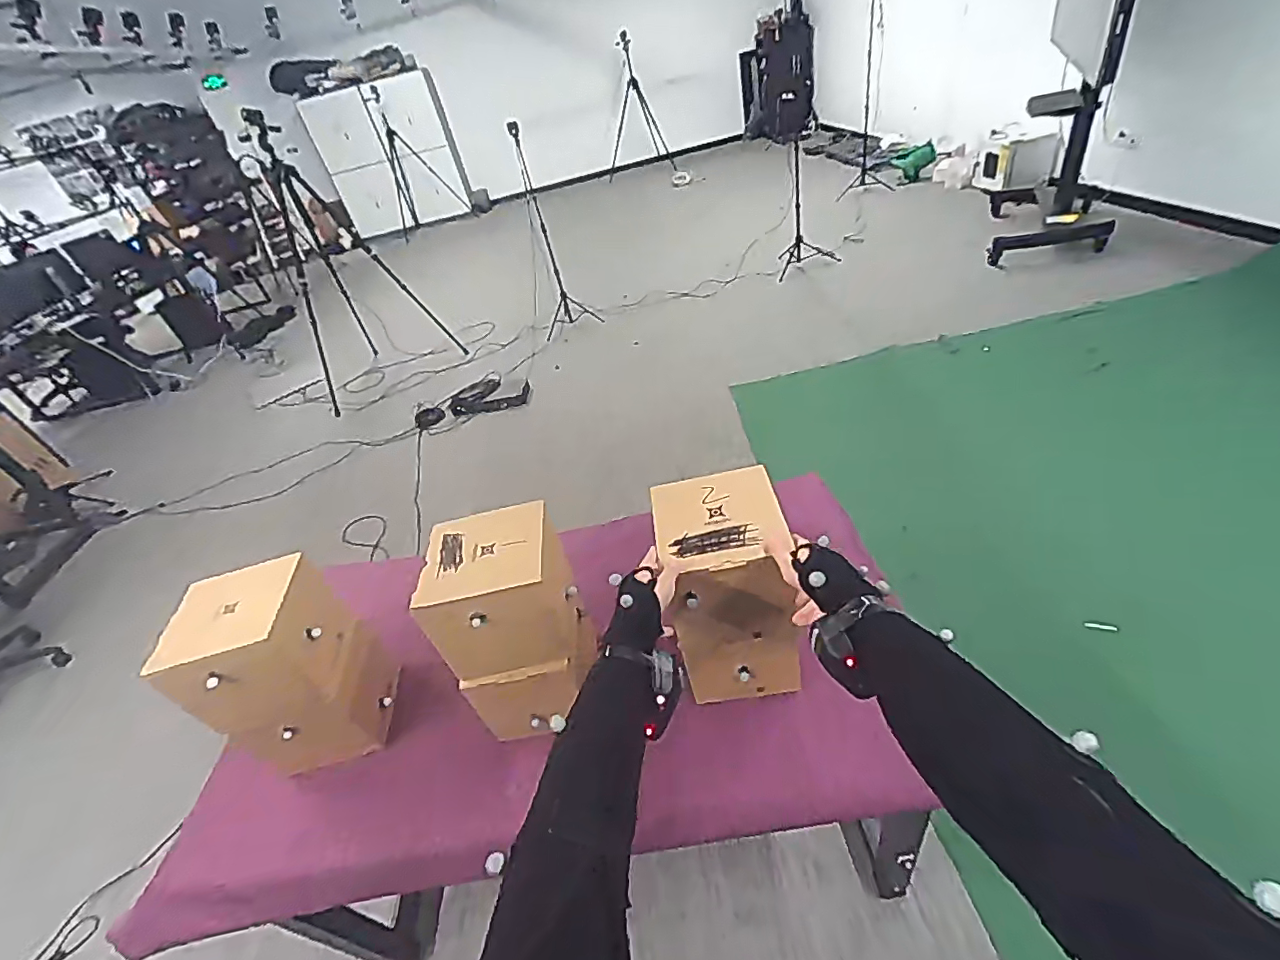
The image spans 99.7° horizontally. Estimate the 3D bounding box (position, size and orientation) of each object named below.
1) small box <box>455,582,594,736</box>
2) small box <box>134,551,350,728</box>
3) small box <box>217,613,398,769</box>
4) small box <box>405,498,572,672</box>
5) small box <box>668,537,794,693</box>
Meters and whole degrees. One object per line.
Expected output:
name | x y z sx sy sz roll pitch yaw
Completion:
small box | -0.176 0.286 0.885 0.168 0.176 0.179 -12 39 5
small box | -0.572 0.239 0.812 0.179 0.176 0.168 -17 40 -2
small box | -0.545 0.360 0.916 0.179 0.176 0.168 -15 39 -1
small box | -0.206 0.155 0.790 0.179 0.176 0.168 -13 38 2
small box | 0.143 0.221 0.861 0.168 0.176 0.179 -10 39 6
